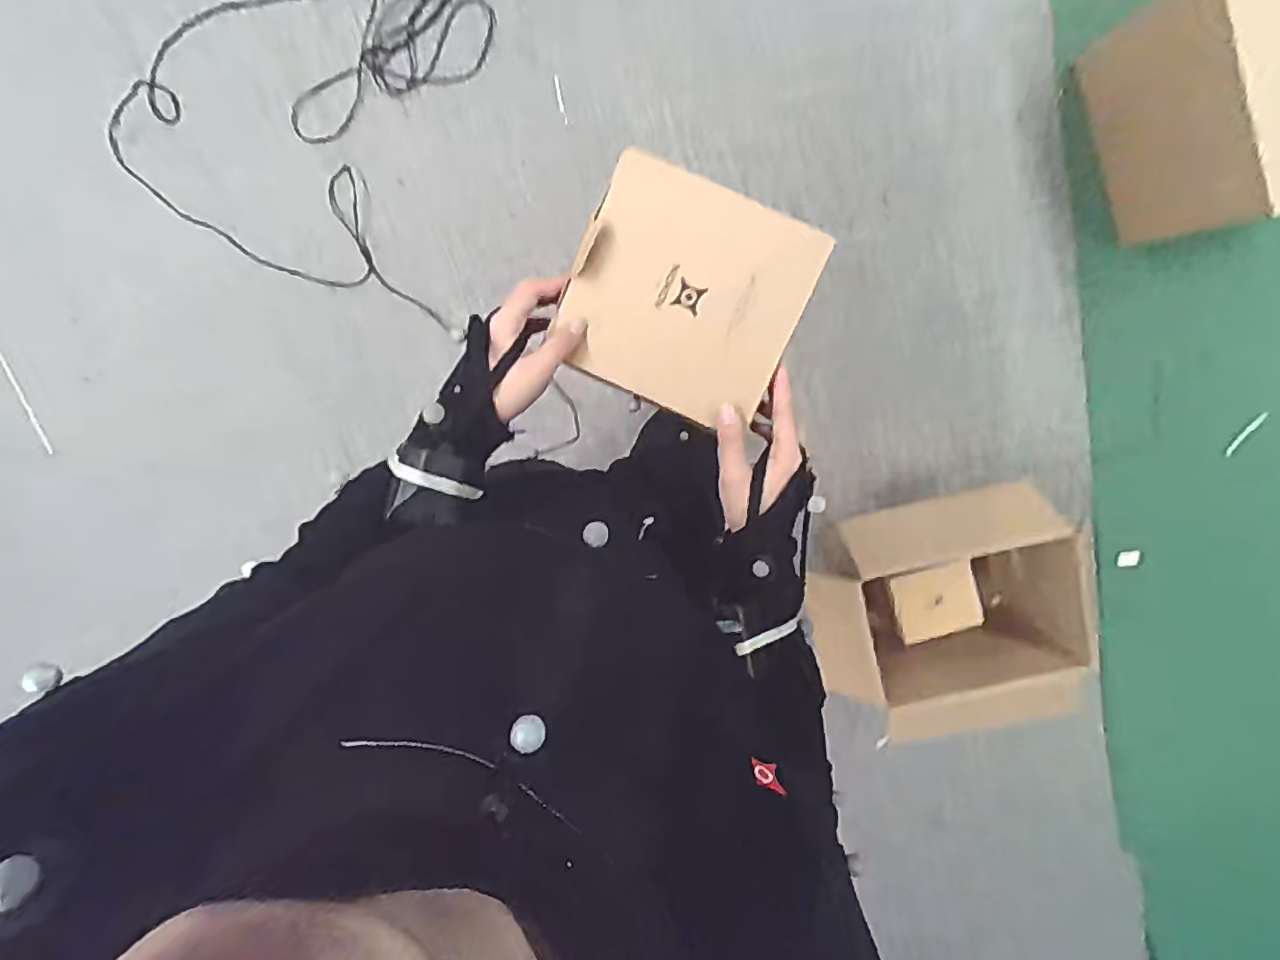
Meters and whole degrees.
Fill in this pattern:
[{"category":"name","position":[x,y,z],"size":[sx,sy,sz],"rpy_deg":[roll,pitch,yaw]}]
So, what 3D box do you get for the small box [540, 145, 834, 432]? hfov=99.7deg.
[{"category":"small box","position":[0.036,-0.148,0.484],"size":[0.179,0.176,0.168],"rpy_deg":[23,96,0]}]
